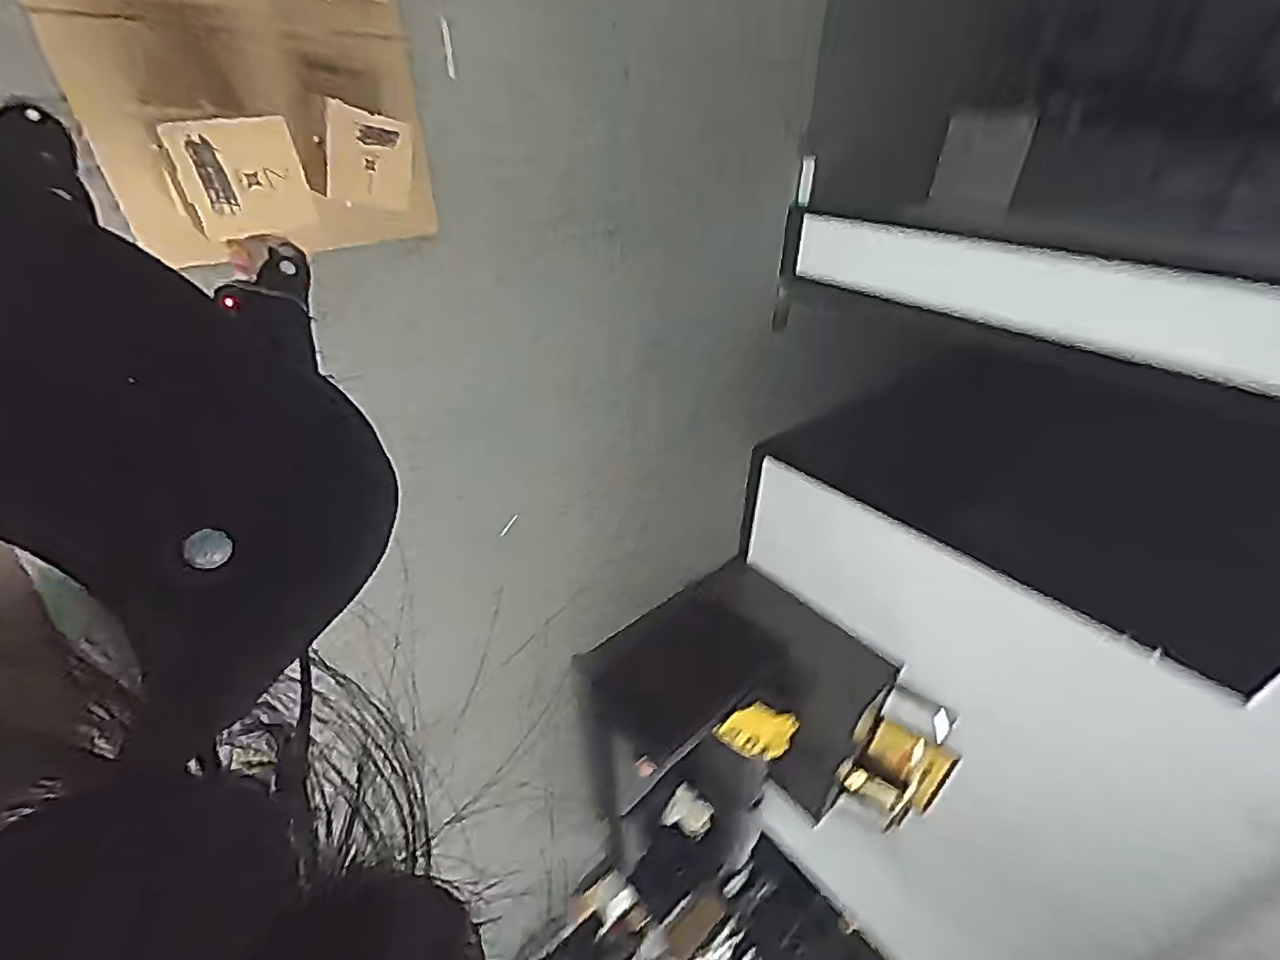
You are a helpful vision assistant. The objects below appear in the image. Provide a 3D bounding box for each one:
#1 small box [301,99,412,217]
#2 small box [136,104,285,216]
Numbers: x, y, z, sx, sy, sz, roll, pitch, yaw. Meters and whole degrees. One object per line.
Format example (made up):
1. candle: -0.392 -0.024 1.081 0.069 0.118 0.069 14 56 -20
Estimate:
1. small box: -0.606 -0.684 1.148 0.168 0.176 0.179 -10 125 -44
2. small box: -0.800 -0.593 1.008 0.179 0.176 0.168 -23 132 -37
